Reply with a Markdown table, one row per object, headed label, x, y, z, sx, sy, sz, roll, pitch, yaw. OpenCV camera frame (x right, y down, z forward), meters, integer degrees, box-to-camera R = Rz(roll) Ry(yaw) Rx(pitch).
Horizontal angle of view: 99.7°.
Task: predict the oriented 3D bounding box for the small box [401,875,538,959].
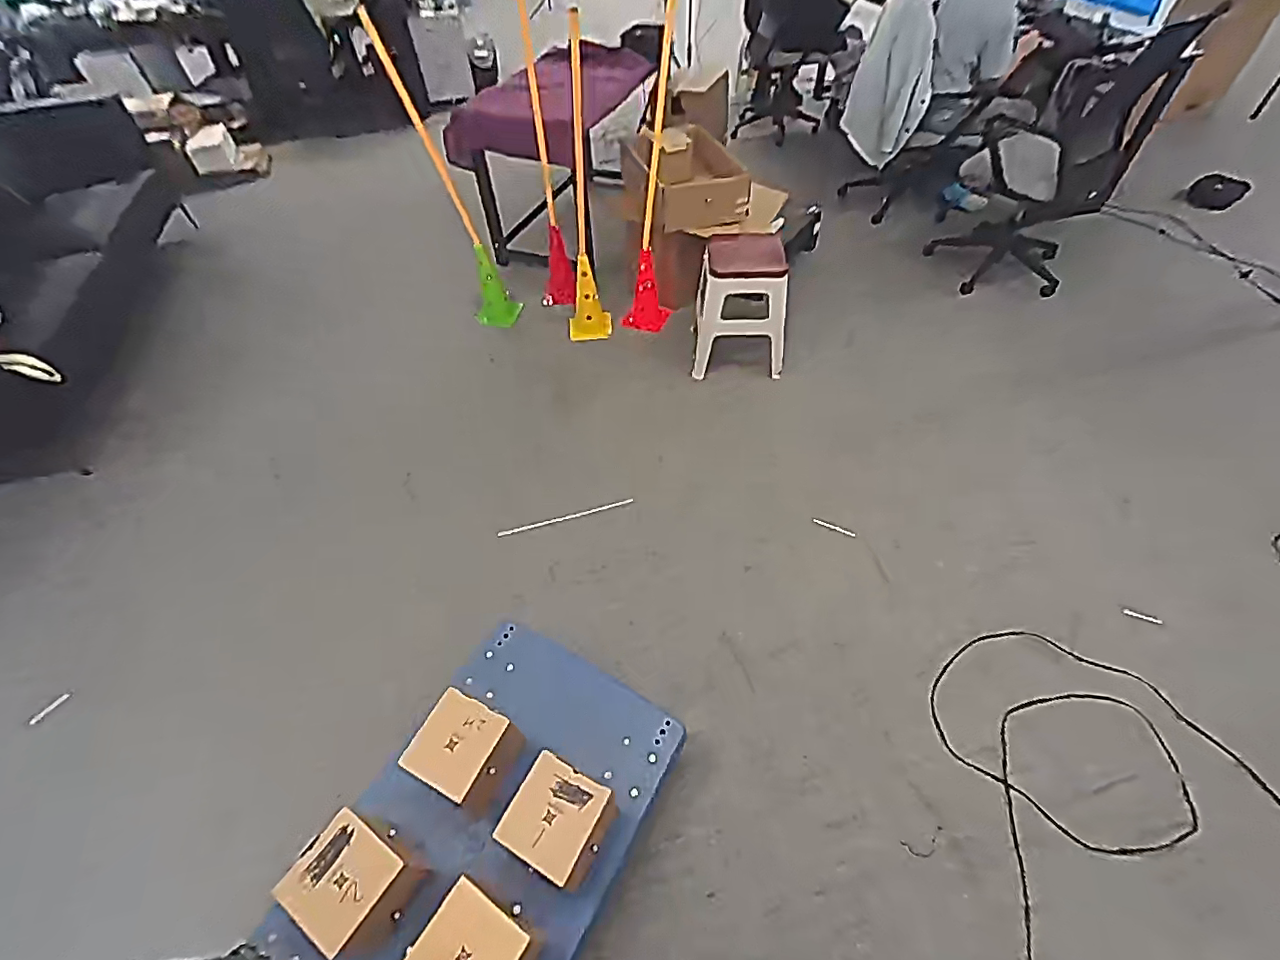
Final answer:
| label | x | y | z | sx | sy | sz | roll | pitch | yaw |
| --- | --- | --- | --- | --- | --- | --- | --- | --- | --- |
| small box | -0.300 | 0.854 | 0.970 | 0.168 | 0.176 | 0.179 | 26 | 58 | 22 |

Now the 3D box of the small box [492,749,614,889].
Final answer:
| label | x | y | z | sx | sy | sz | roll | pitch | yaw |
| --- | --- | --- | --- | --- | --- | --- | --- | --- | --- |
| small box | -0.165 | 0.686 | 1.094 | 0.168 | 0.176 | 0.179 | 22 | 56 | 21 |

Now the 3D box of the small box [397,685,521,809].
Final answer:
| label | x | y | z | sx | sy | sz | roll | pitch | yaw |
| --- | --- | --- | --- | --- | --- | --- | --- | --- | --- |
| small box | -0.382 | 0.588 | 1.183 | 0.168 | 0.176 | 0.179 | 21 | 56 | 18 |
